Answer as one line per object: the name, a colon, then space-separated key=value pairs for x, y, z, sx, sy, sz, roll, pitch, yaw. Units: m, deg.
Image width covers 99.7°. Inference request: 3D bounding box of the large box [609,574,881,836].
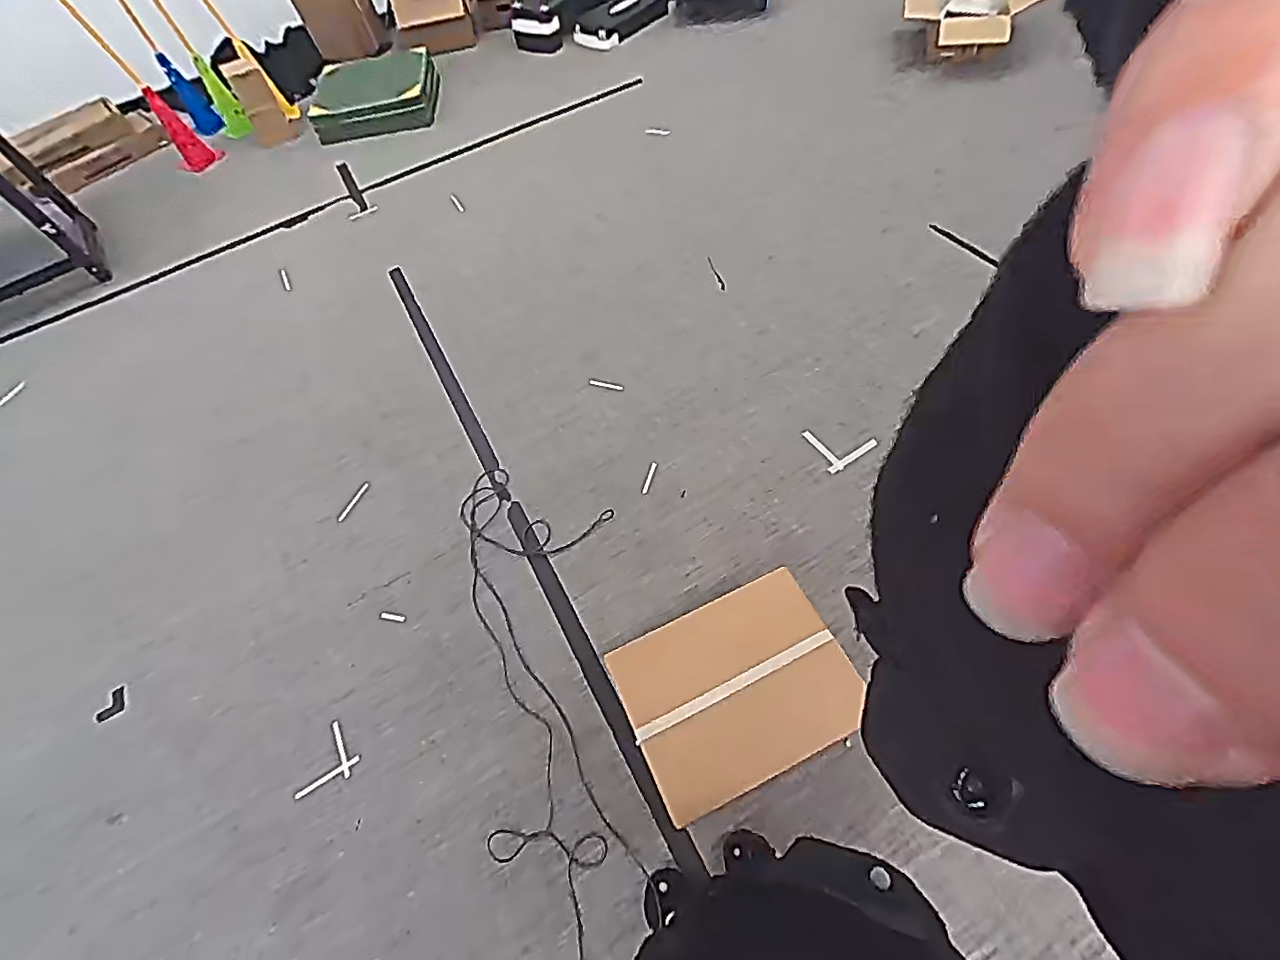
large box: x=0.197 y=0.460 z=1.107 sx=0.408 sy=0.320 sz=0.320 roll=-25 pitch=57 yaw=-8
